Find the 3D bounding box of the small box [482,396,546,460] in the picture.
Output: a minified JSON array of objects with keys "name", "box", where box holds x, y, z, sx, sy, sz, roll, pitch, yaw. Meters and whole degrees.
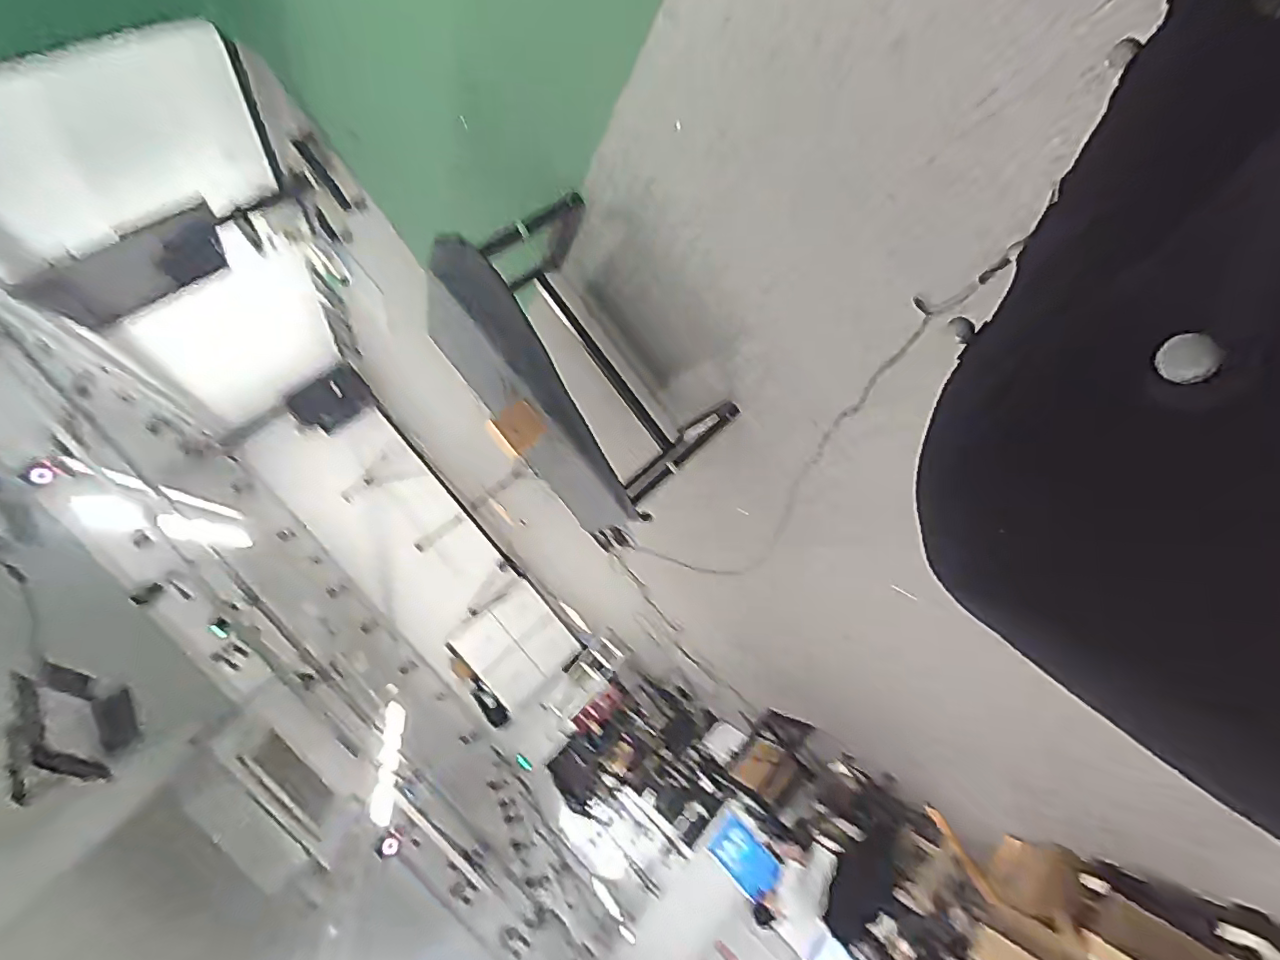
[{"name":"small box","box":[-0.501,-0.209,2.163,0.179,0.176,0.168,53,156,-7]}]
